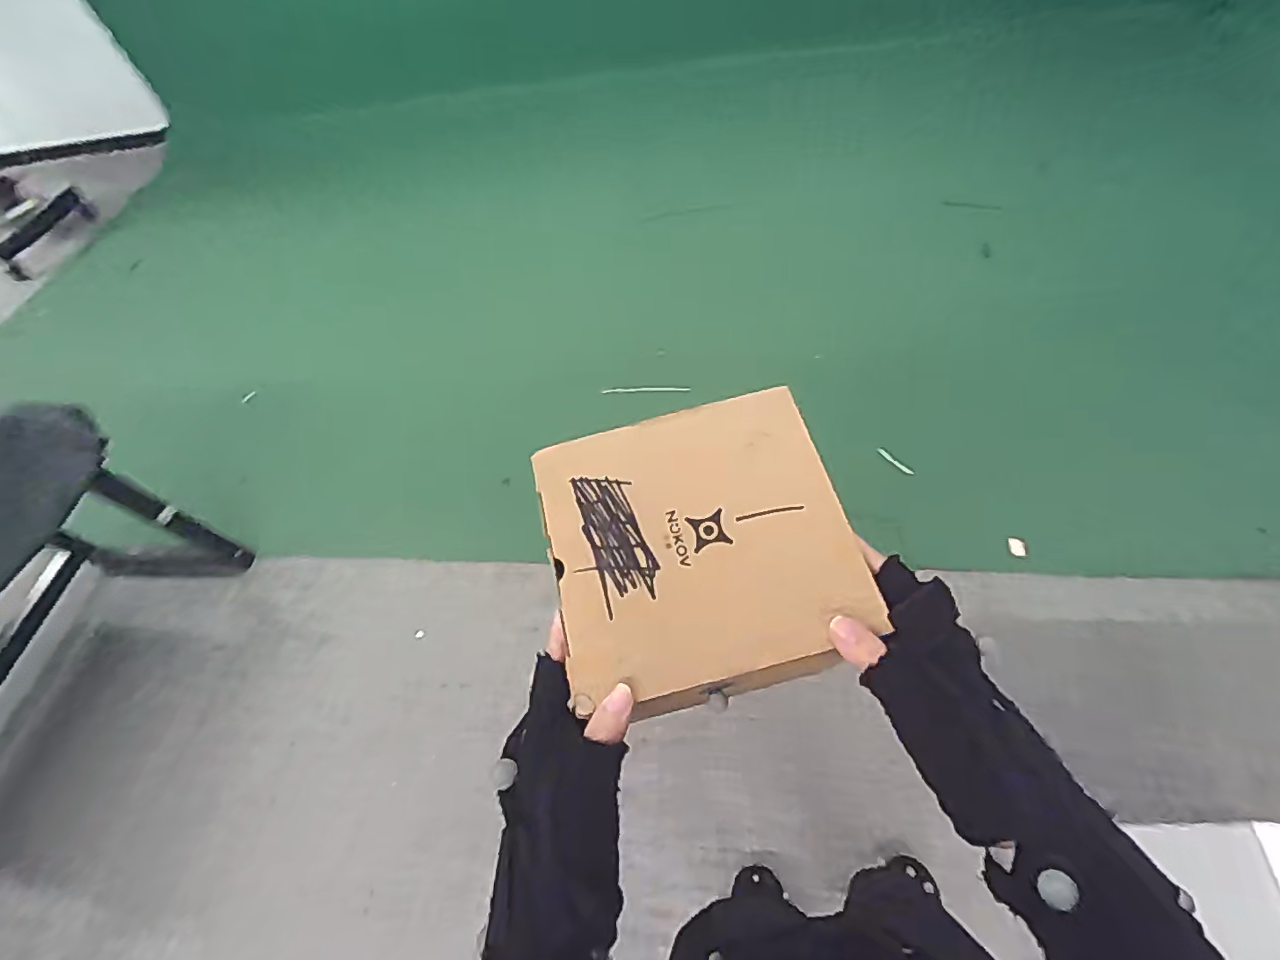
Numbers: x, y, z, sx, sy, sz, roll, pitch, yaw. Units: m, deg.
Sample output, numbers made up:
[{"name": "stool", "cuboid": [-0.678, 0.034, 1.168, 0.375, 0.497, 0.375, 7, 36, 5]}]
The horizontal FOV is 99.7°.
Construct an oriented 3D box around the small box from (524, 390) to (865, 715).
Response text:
[{"name": "small box", "cuboid": [0.032, 0.066, 0.400, 0.179, 0.176, 0.168, -15, 63, -1]}]
